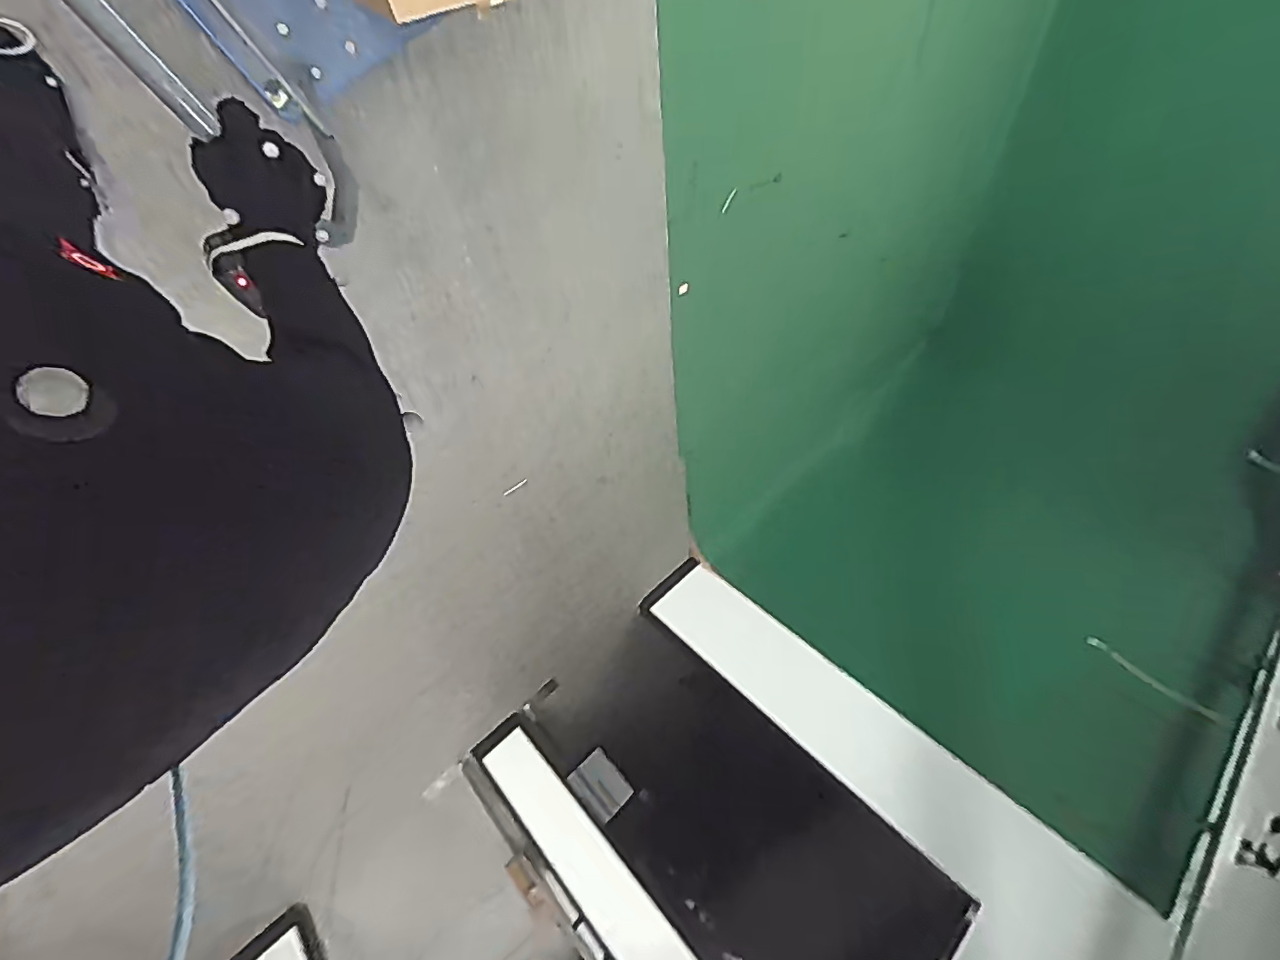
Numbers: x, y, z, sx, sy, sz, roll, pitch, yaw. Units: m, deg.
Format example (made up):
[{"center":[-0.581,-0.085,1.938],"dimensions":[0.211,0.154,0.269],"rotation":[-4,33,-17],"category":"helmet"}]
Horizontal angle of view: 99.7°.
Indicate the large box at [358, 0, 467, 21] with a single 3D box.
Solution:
[{"center":[-0.334,-0.947,0.748],"dimensions":[0.320,0.320,0.408],"rotation":[-30,143,-15],"category":"large box"}]
